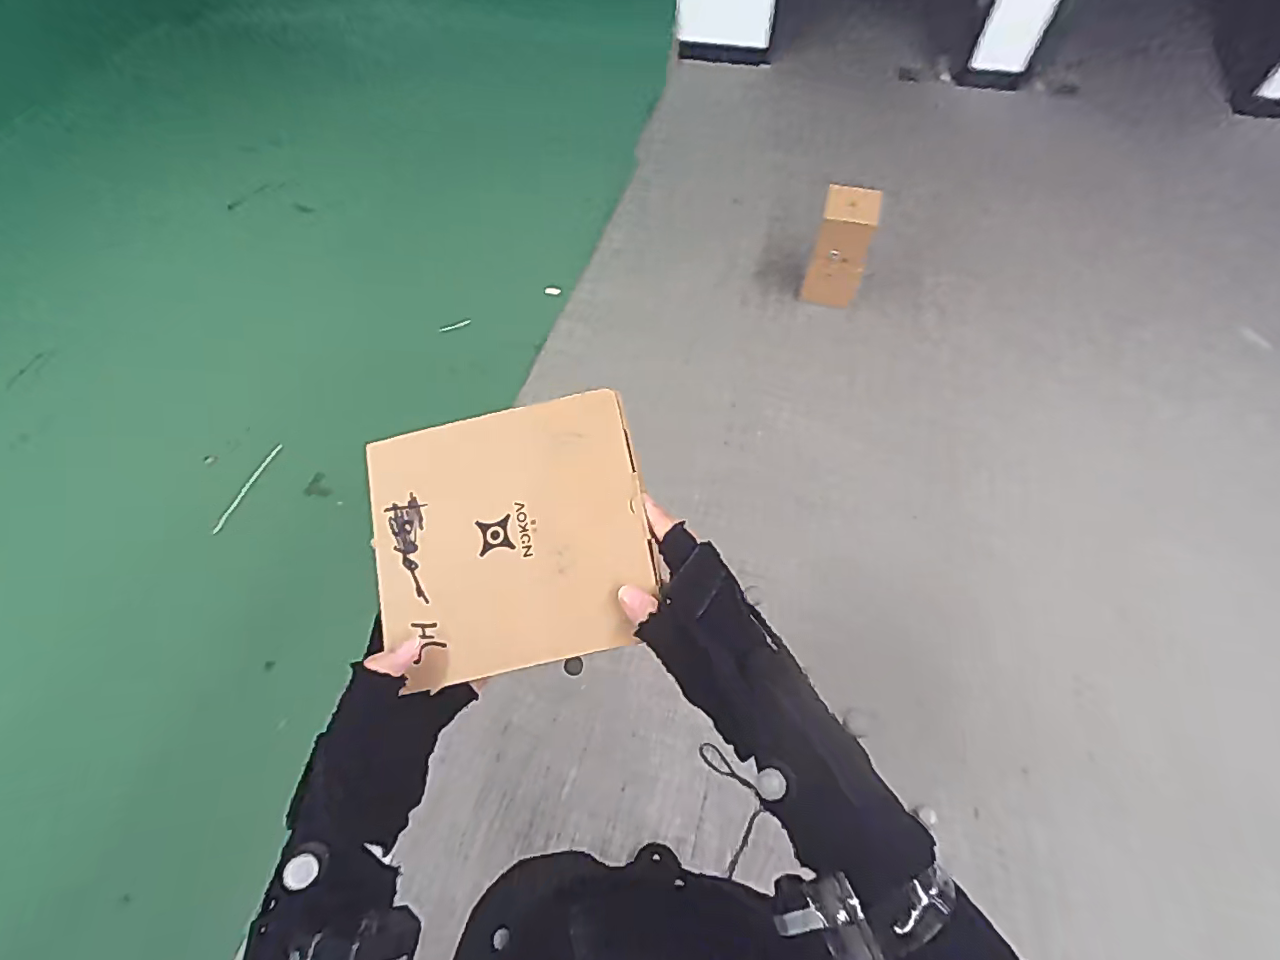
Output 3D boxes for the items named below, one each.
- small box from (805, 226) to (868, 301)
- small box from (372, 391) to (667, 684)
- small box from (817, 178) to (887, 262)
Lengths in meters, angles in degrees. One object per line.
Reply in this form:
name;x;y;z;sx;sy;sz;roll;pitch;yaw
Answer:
small box;0.686;-0.750;1.883;0.179;0.176;0.168;15;63;11
small box;-0.078;0.051;0.423;0.179;0.176;0.168;-11;75;2
small box;0.680;-0.836;1.746;0.168;0.176;0.179;12;64;12
